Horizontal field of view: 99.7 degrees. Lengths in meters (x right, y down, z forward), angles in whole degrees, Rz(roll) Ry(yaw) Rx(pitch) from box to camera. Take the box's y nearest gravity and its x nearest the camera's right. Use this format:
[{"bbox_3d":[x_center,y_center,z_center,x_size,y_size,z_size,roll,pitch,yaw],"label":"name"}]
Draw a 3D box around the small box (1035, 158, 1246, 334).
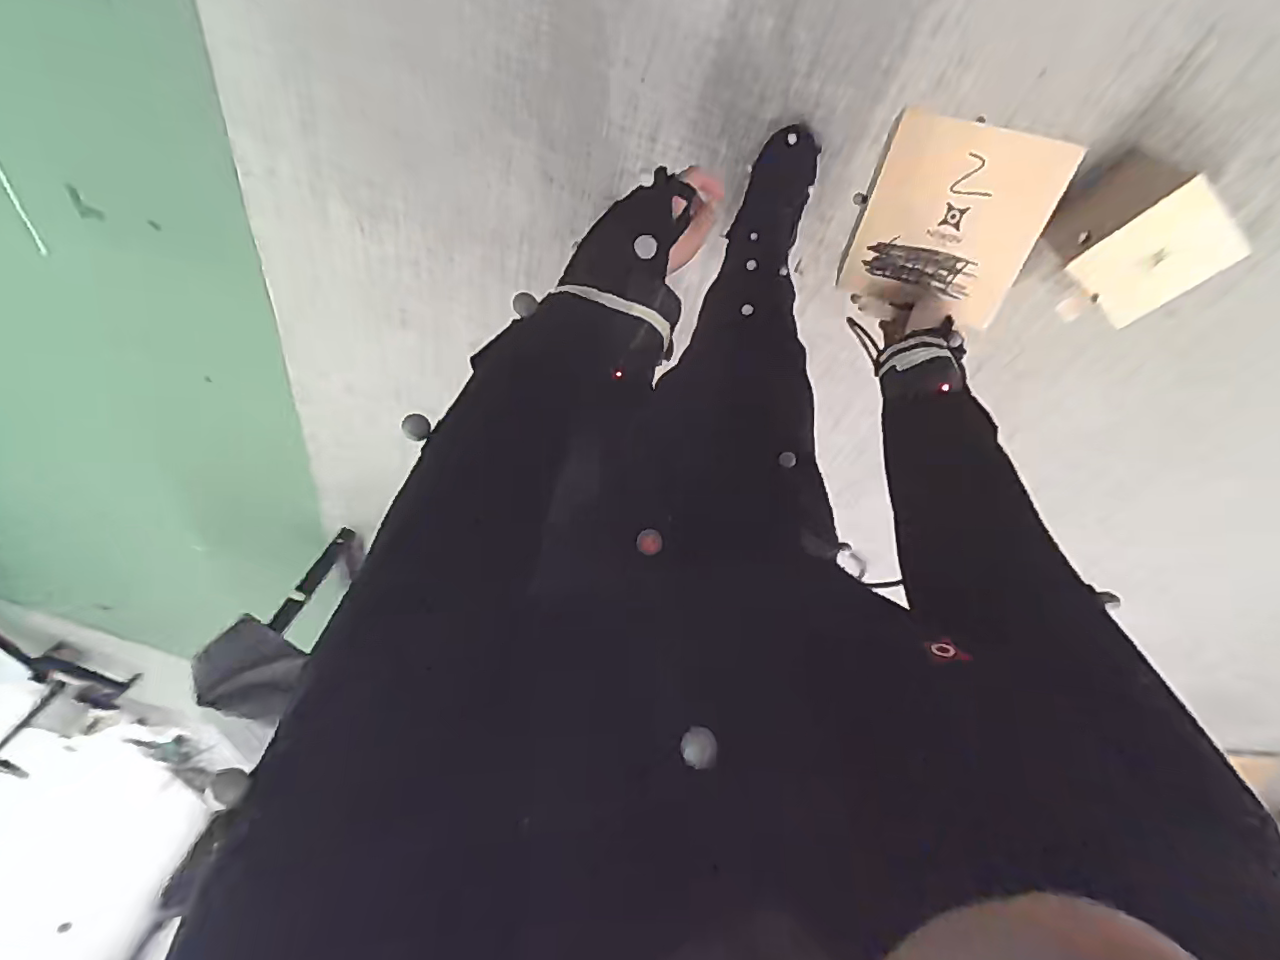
[{"bbox_3d":[0.801,-0.384,0.885,0.168,0.176,0.179,34,133,-18],"label":"small box"}]
